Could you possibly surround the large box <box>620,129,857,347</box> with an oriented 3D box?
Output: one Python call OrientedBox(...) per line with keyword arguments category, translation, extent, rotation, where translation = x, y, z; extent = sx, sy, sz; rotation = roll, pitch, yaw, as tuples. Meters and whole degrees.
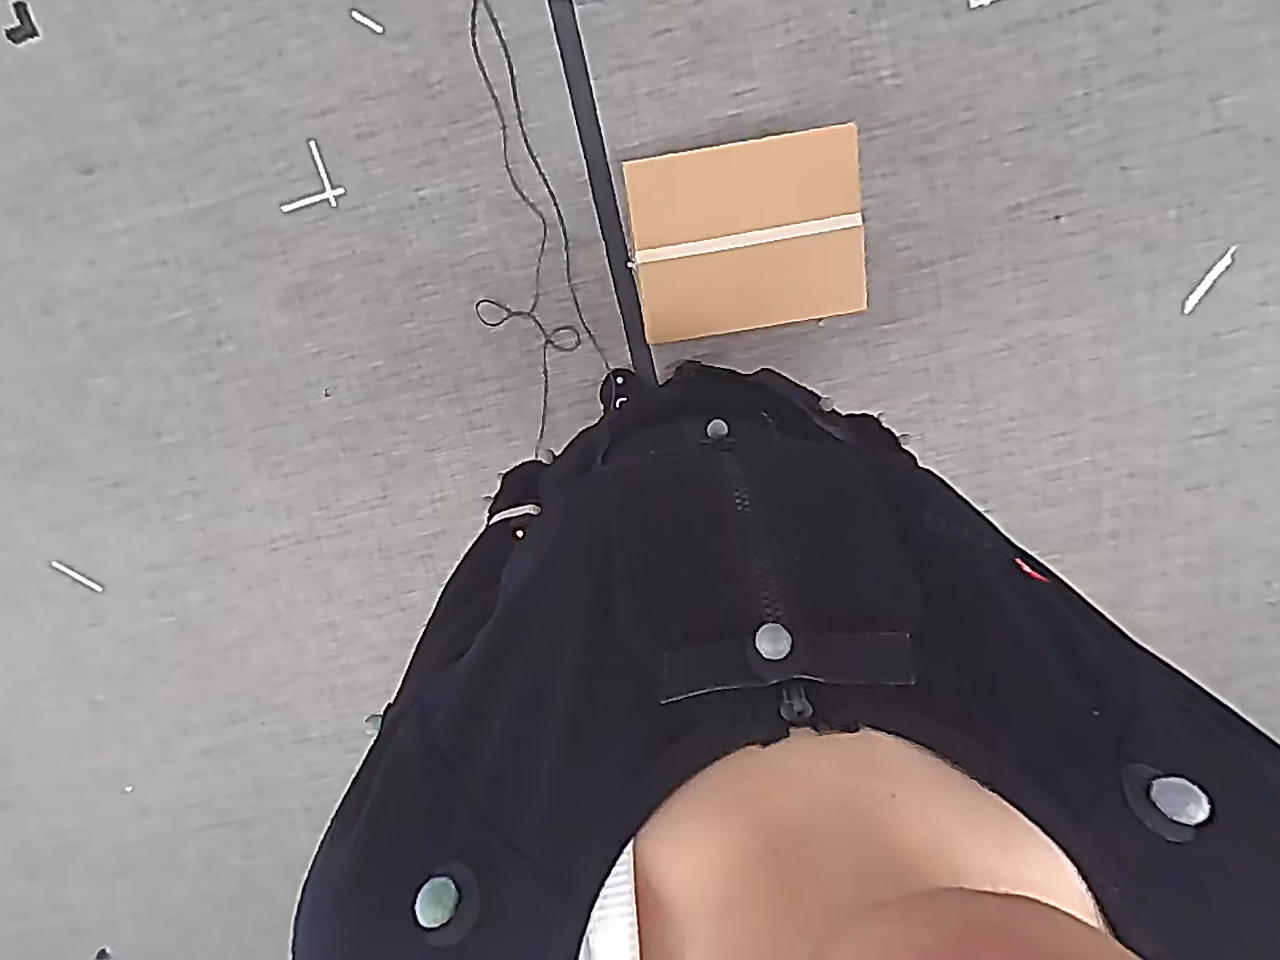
OrientedBox(category="large box", translation=(0.184, -0.465, 1.115), extent=(0.408, 0.320, 0.320), rotation=(-9, 103, 2))
